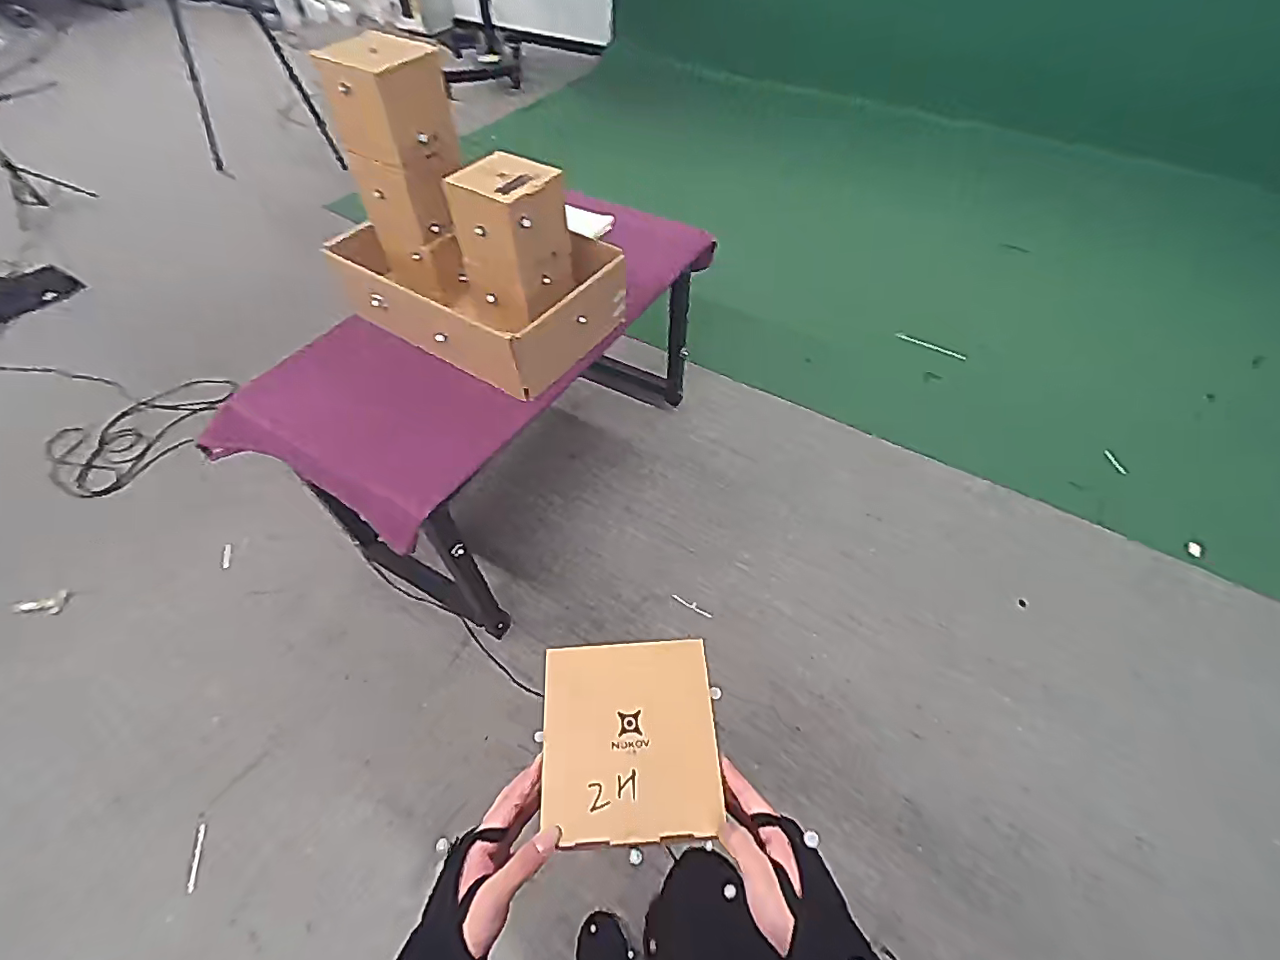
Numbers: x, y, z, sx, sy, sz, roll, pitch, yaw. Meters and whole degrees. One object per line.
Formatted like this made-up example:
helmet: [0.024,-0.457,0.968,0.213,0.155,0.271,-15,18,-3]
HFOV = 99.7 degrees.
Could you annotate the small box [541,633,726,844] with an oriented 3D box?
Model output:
small box: [-0.008,0.282,0.585,0.168,0.176,0.179,-3,55,-1]

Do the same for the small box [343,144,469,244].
small box: [-0.517,-0.662,1.222,0.179,0.176,0.168,26,57,17]

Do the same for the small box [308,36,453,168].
small box: [-0.512,-0.760,1.092,0.179,0.176,0.168,27,57,16]

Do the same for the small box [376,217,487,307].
small box: [-0.513,-0.561,1.352,0.179,0.176,0.168,27,57,17]
